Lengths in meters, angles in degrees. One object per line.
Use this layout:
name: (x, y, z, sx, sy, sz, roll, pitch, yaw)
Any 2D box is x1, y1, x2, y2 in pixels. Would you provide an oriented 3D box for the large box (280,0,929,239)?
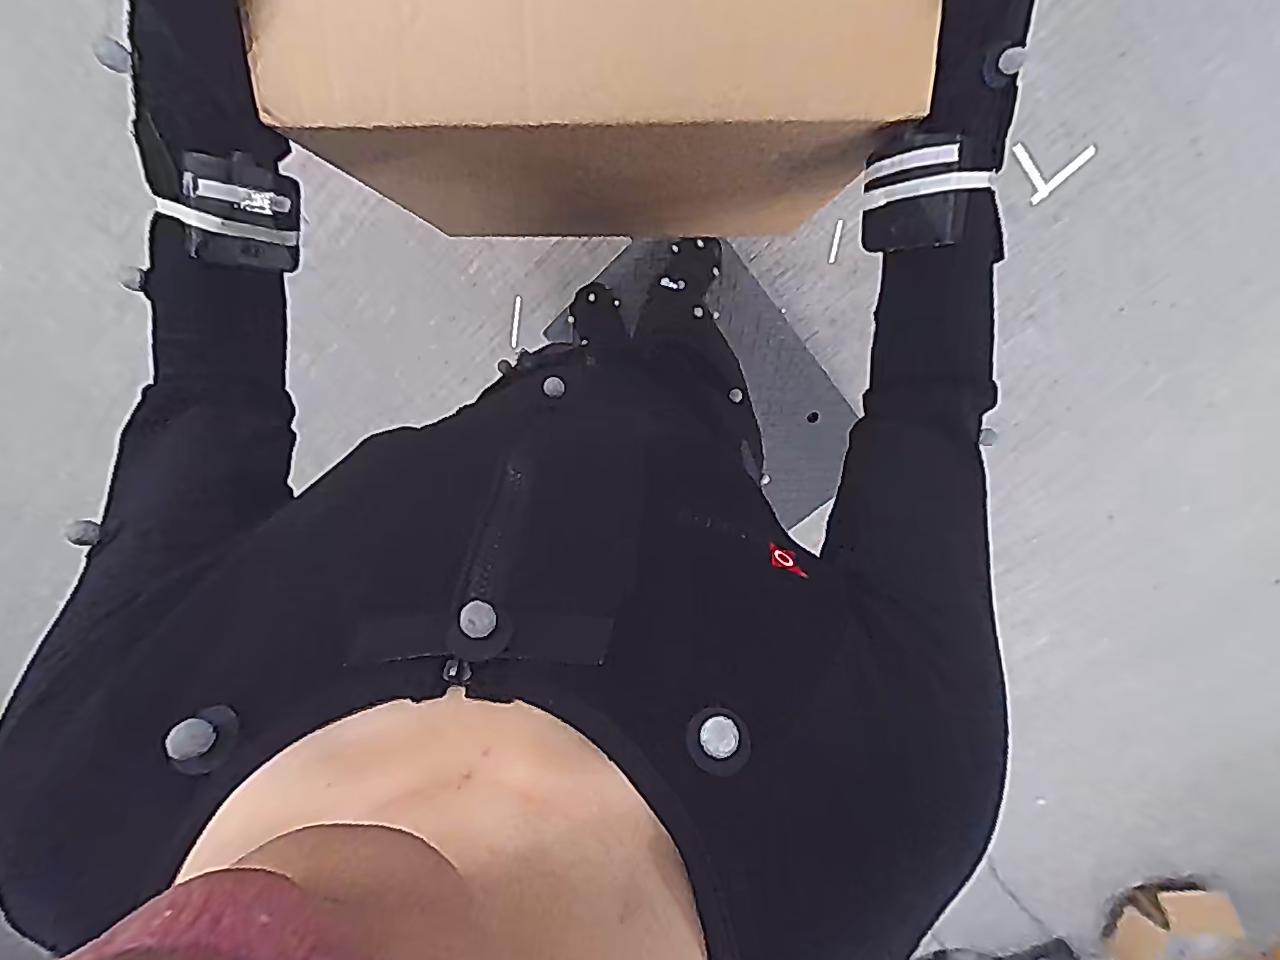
large box: (-0.022, -0.405, 0.457, 0.408, 0.320, 0.320, 0, 103, 1)

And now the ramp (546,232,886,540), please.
ramp: (0.264, -0.244, 1.532, 0.509, 0.206, 0.991, -42, 107, 15)
